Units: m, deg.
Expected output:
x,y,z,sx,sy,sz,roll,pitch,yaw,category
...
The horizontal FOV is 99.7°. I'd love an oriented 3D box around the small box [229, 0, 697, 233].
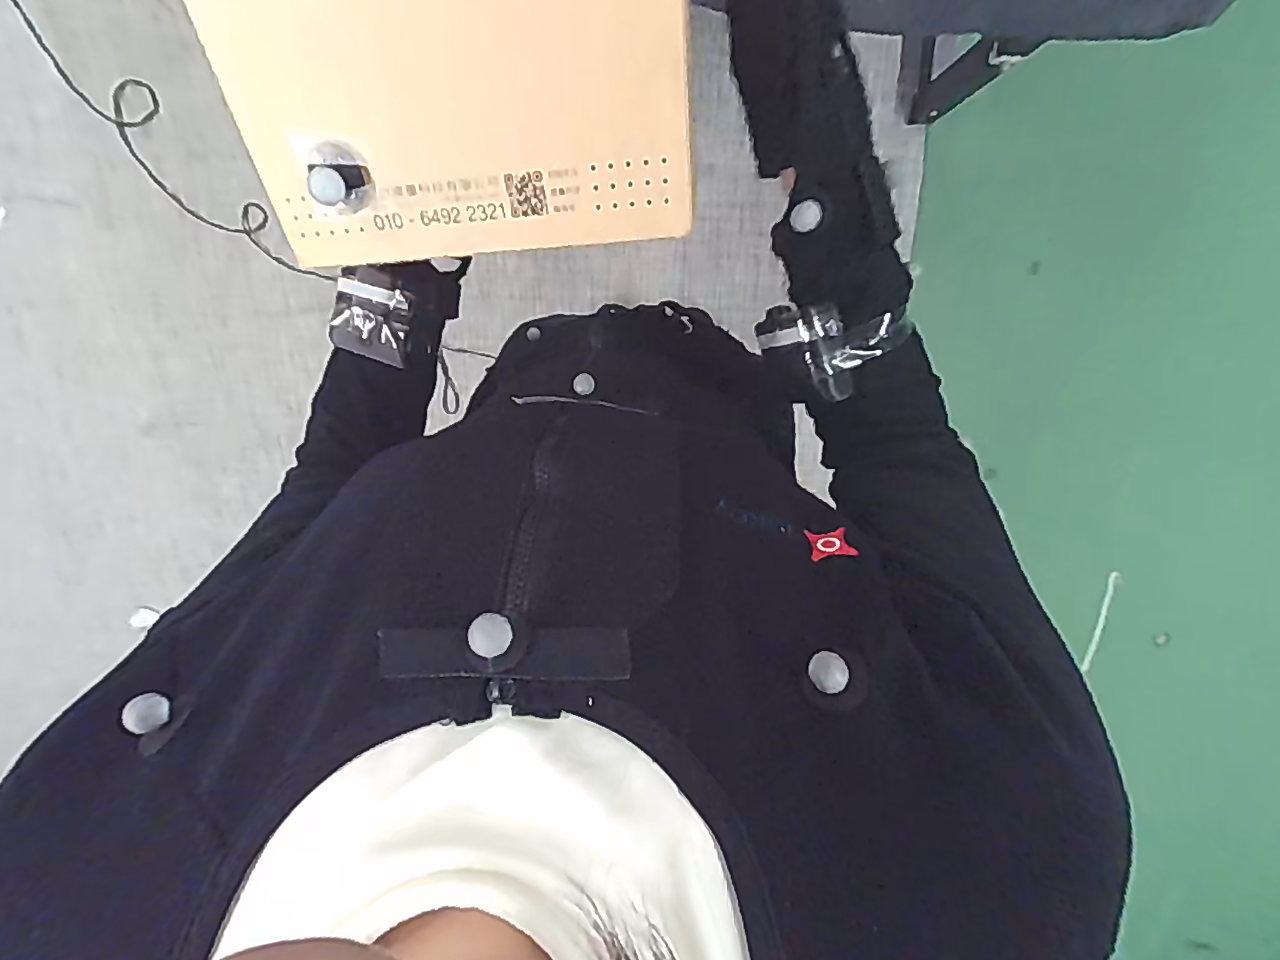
x,y,z,sx,sy,sz,roll,pitch,yaw,category
-0.060,-0.218,0.249,0.168,0.179,0.176,-1,124,8,small box
